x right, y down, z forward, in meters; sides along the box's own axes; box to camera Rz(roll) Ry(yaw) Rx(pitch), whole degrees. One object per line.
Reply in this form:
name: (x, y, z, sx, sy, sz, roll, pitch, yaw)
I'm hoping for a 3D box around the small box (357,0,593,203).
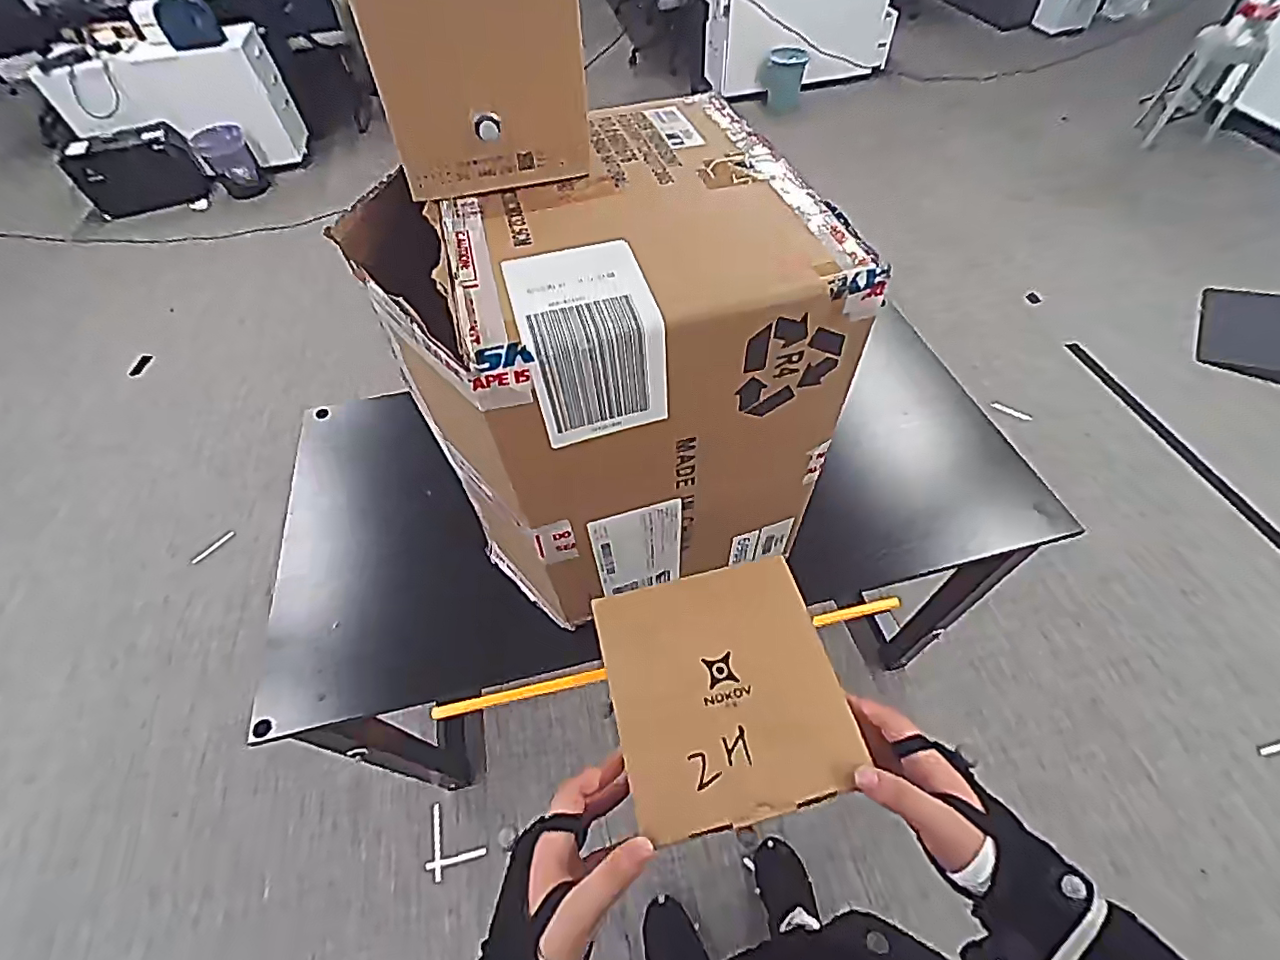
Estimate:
small box: (-0.145, -0.375, 0.483, 0.168, 0.176, 0.179, -16, 53, -11)
